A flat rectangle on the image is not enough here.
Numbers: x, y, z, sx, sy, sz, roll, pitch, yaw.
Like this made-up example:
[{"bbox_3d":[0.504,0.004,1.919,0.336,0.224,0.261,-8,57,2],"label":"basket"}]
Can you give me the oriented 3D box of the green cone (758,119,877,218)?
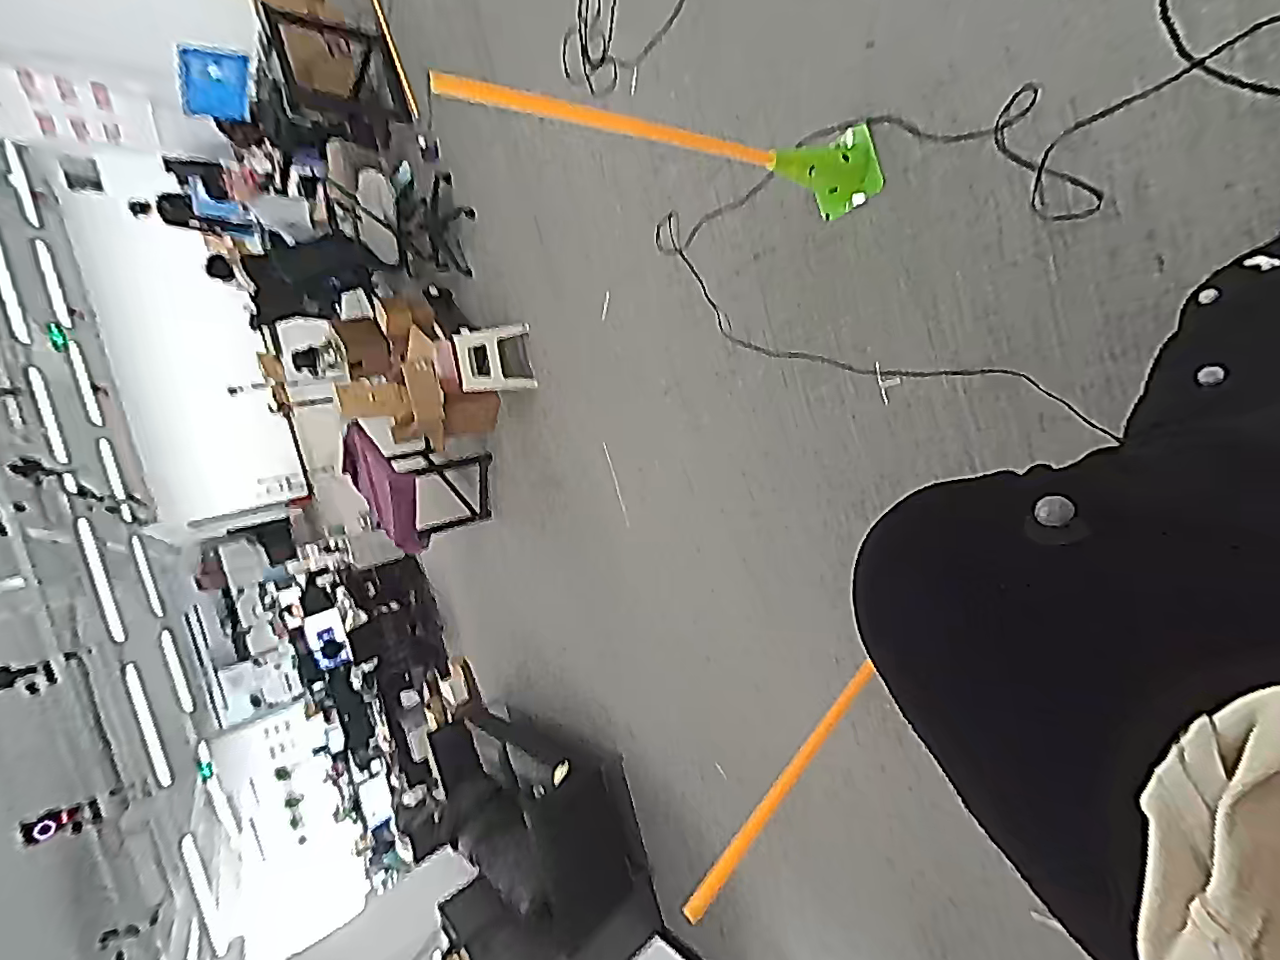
[{"bbox_3d":[0.459,-0.878,1.492,0.200,0.368,0.202,-17,89,52],"label":"green cone"}]
